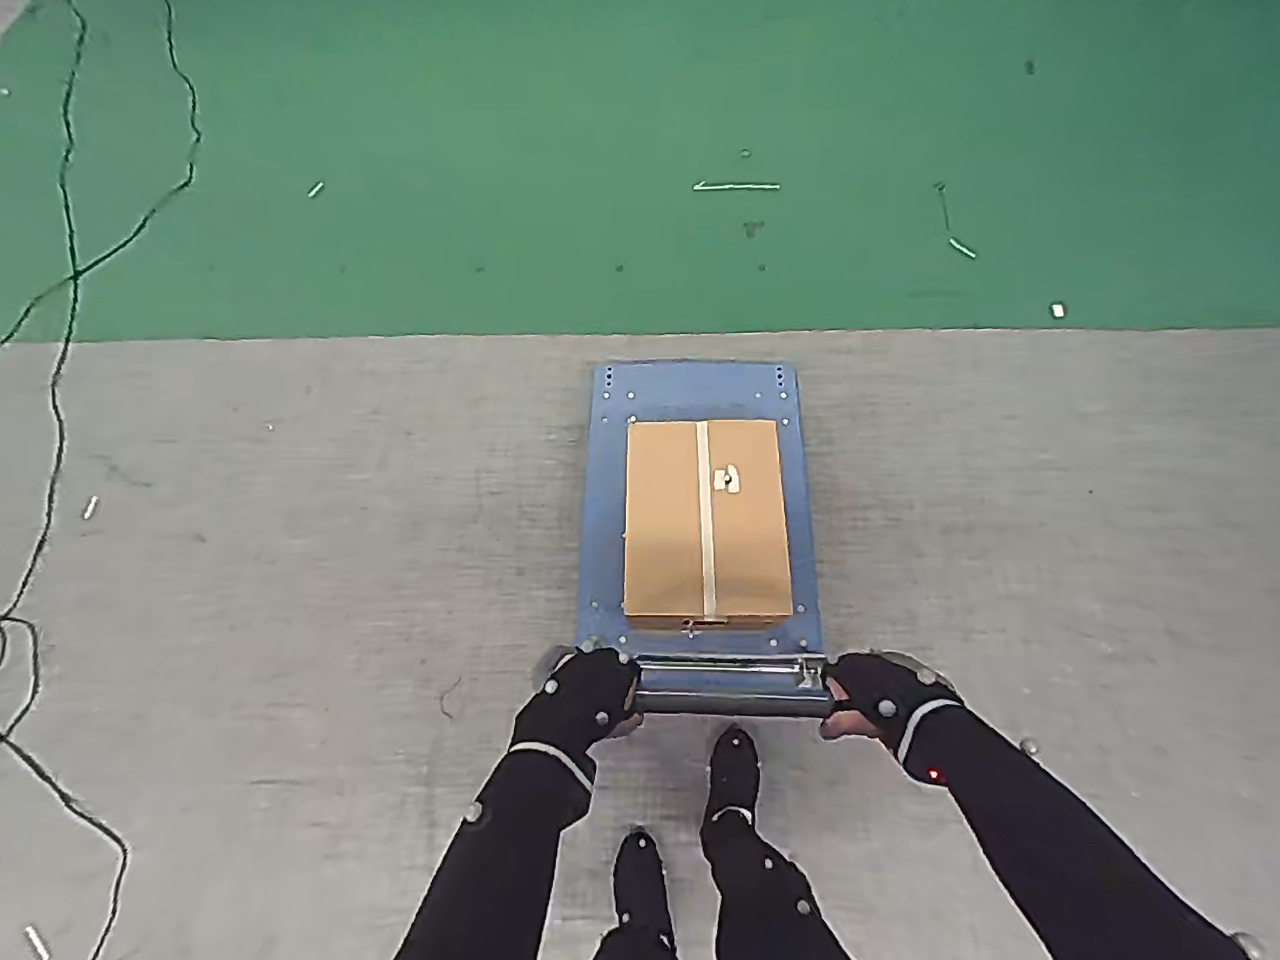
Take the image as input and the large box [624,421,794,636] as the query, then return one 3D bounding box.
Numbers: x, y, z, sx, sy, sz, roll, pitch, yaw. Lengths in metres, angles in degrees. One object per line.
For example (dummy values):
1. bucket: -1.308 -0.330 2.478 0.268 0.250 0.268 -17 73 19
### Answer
1. large box: 0.134 0.121 1.204 0.320 0.320 0.408 -1 67 2
